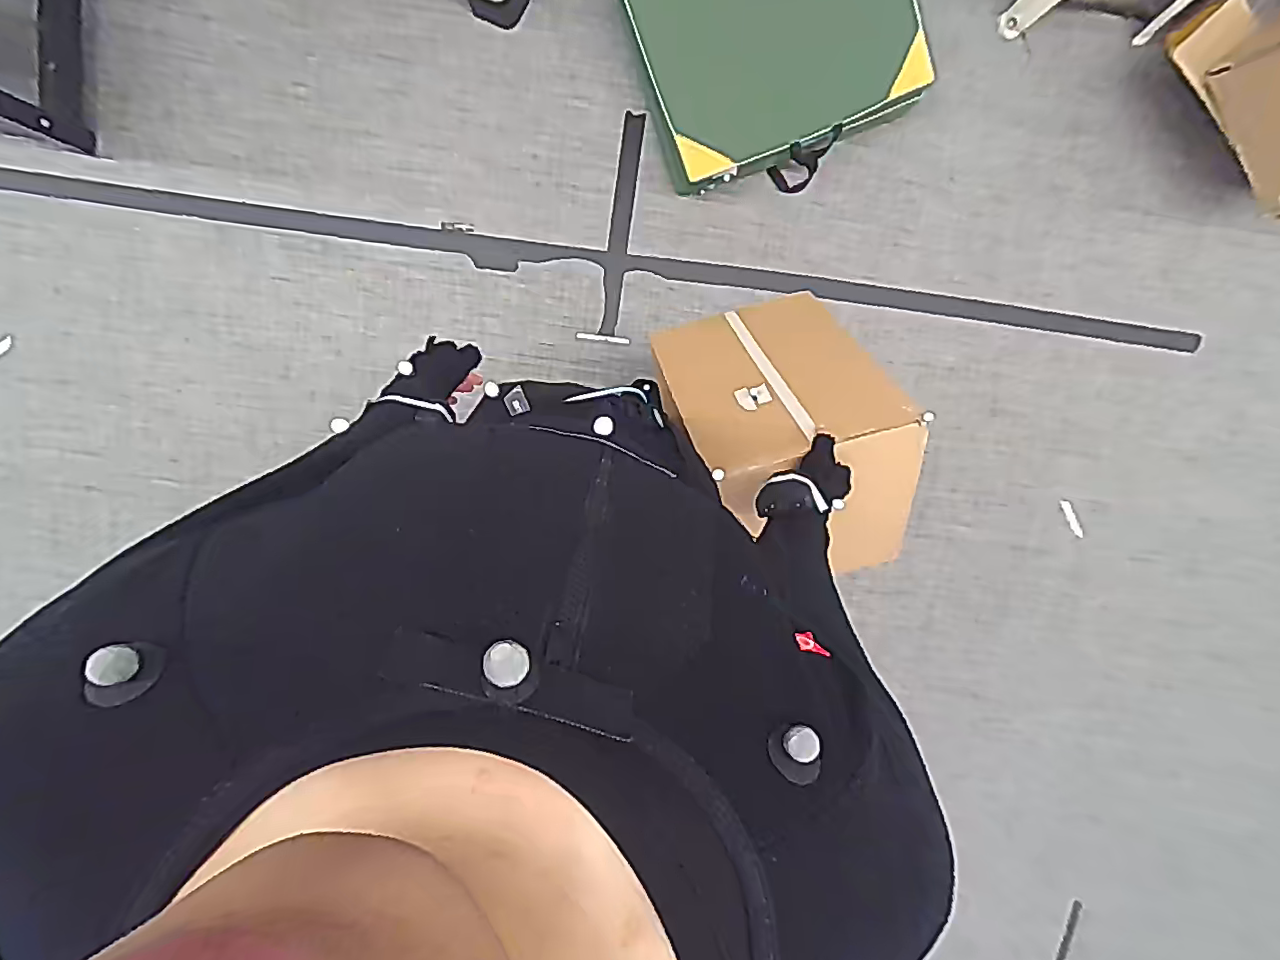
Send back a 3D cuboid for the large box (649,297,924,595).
[{"bbox_3d":[0.228,-0.070,0.978,0.320,0.408,0.320,-16,135,0],"label":"large box"}]
